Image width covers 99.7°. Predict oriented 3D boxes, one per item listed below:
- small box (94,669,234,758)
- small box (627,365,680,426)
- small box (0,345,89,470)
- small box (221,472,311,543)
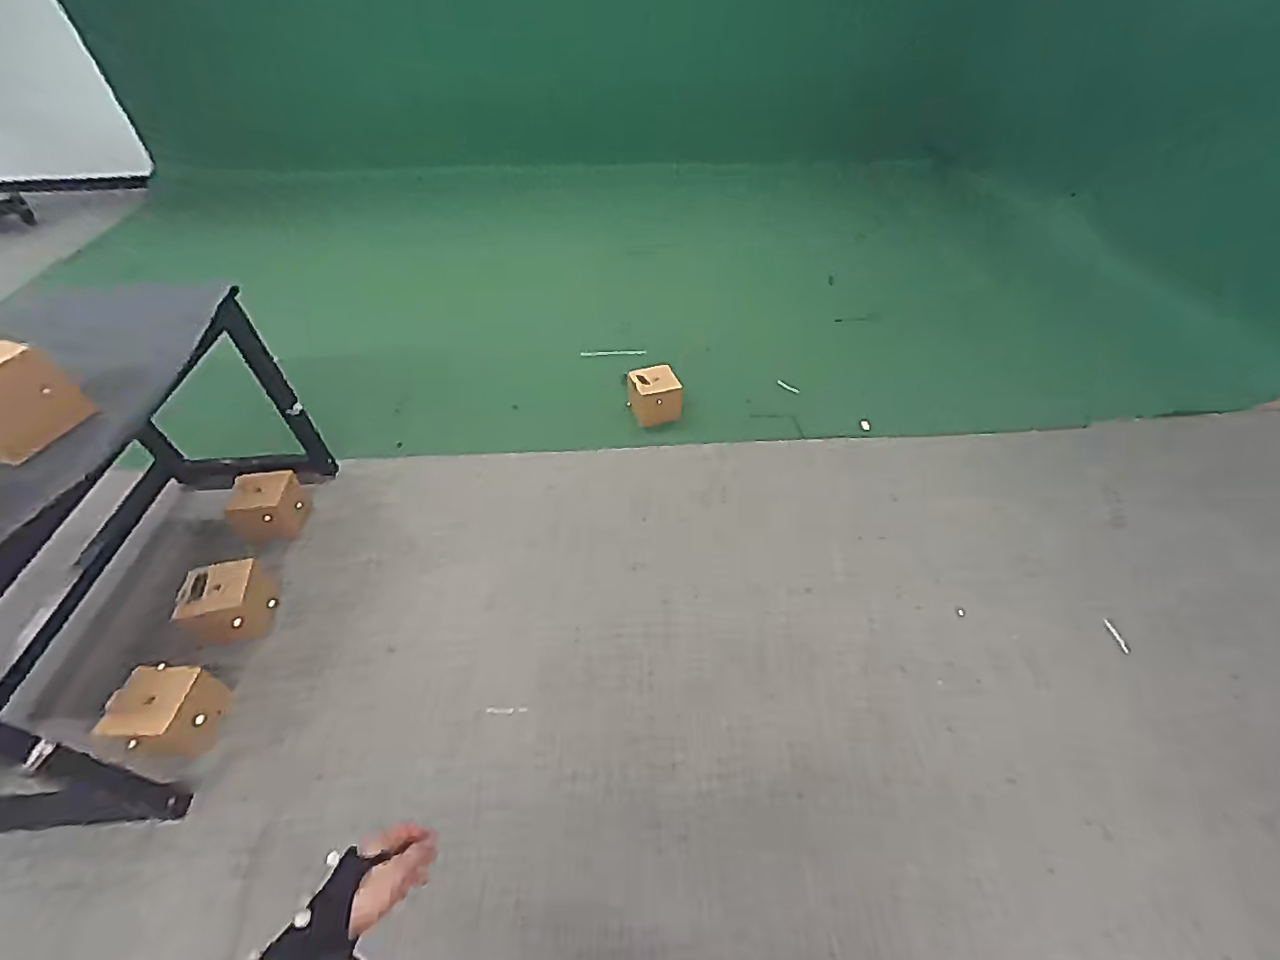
[{"bbox_3d":[-1.192,0.595,1.375,0.179,0.176,0.168,0,48,1],"label":"small box"},{"bbox_3d":[0.055,-0.341,2.214,0.179,0.176,0.168,-14,49,-13],"label":"small box"},{"bbox_3d":[-1.264,-0.148,1.066,0.168,0.176,0.179,10,50,14],"label":"small box"},{"bbox_3d":[-1.254,0.094,1.830,0.179,0.176,0.168,-7,47,-5],"label":"small box"}]
